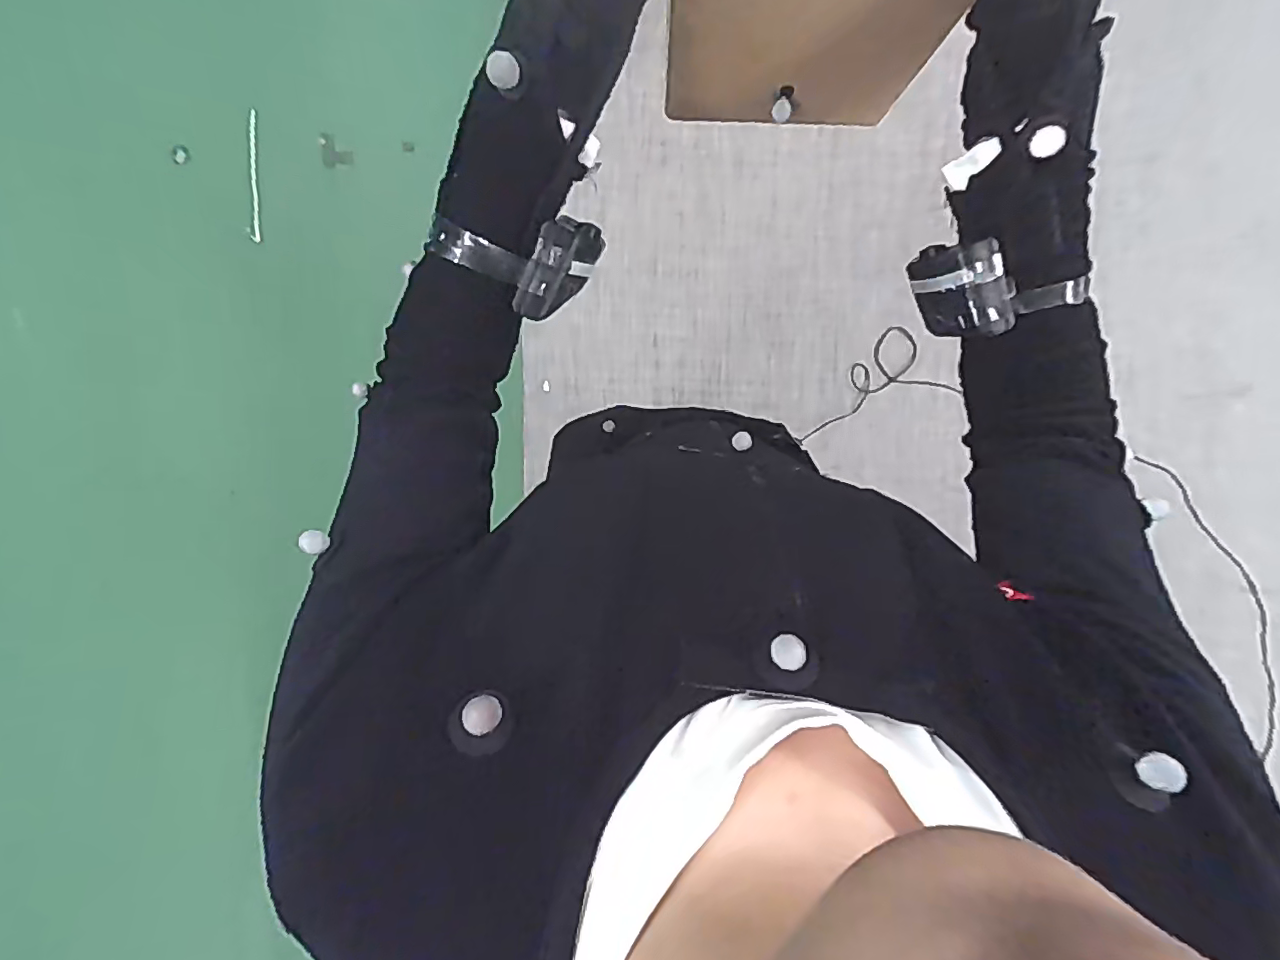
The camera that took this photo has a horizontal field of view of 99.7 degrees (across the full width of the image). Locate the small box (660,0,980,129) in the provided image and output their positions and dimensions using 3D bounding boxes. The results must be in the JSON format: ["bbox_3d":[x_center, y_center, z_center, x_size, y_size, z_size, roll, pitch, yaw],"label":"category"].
[{"bbox_3d":[0.108,-0.359,0.351,0.179,0.176,0.168,2,95,-1],"label":"small box"}]
